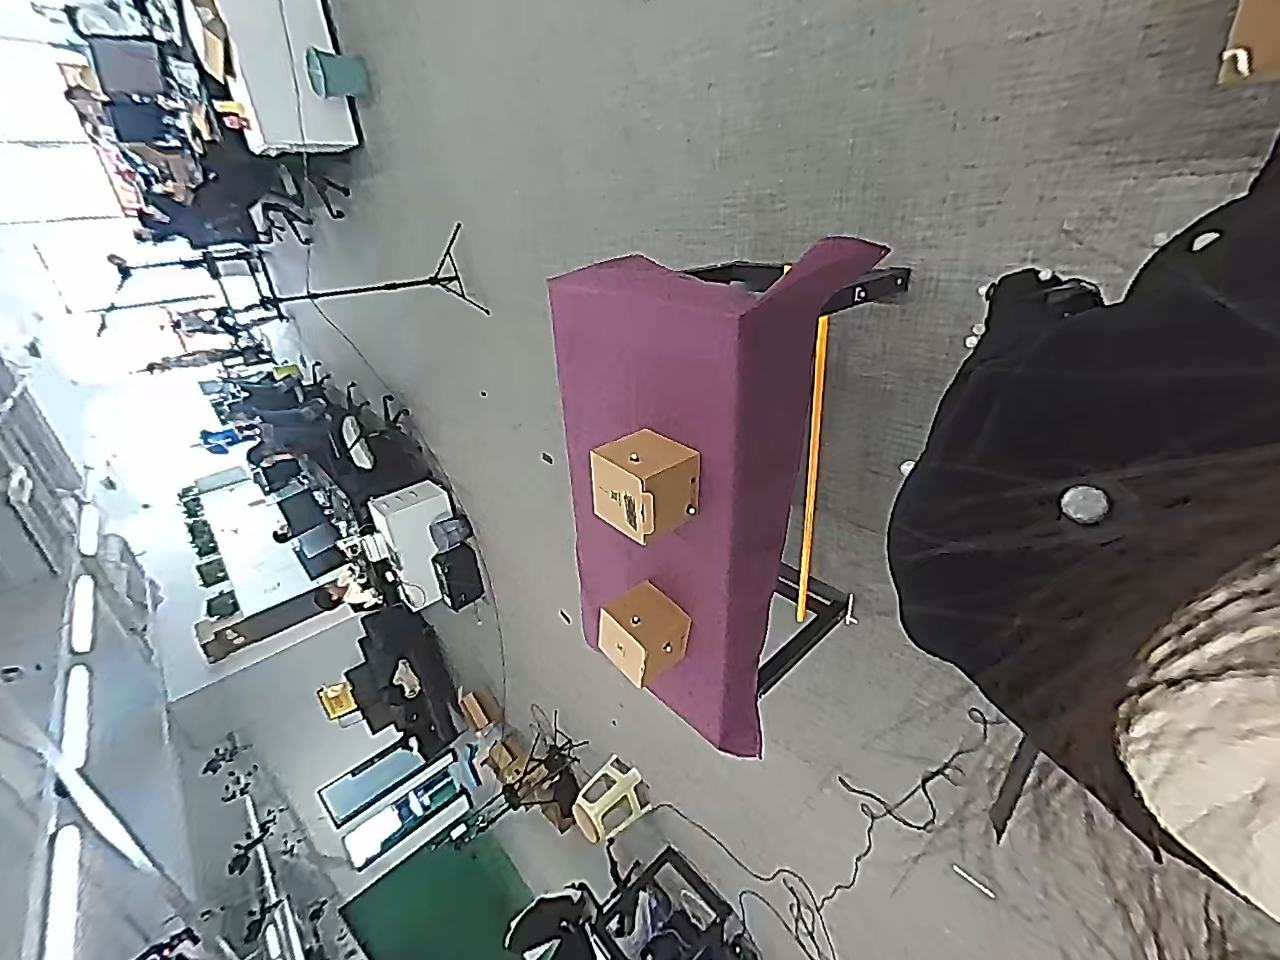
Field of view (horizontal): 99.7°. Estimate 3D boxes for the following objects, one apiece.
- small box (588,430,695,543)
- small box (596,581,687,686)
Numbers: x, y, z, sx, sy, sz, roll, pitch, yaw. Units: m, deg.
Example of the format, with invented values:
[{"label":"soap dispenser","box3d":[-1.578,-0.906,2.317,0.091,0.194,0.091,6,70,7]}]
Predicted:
[{"label":"small box","box3d":[0.006,0.005,1.200,0.179,0.176,0.168,29,131,41]},{"label":"small box","box3d":[0.004,0.402,1.442,0.179,0.176,0.168,36,135,34]}]
